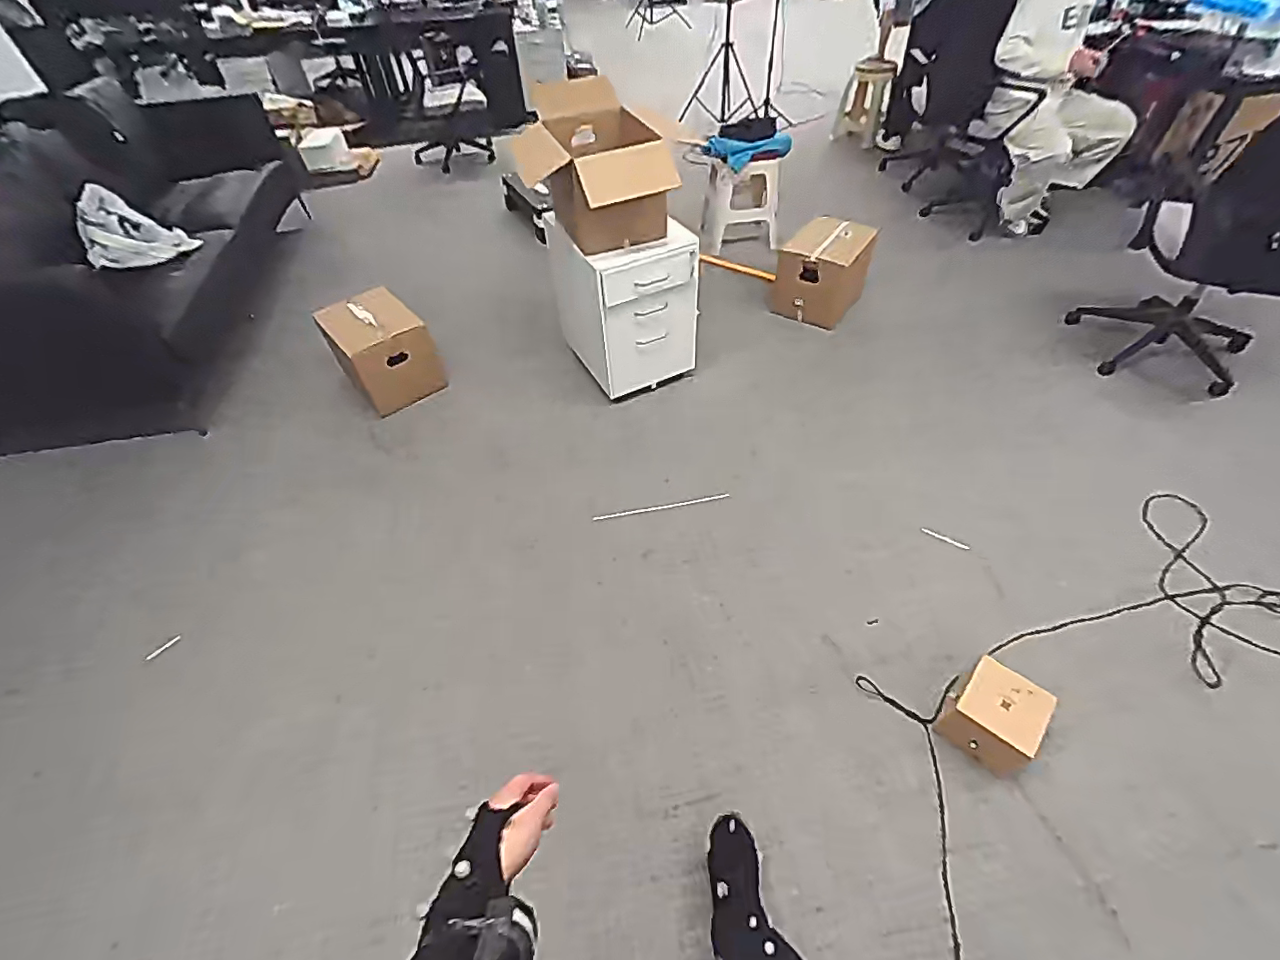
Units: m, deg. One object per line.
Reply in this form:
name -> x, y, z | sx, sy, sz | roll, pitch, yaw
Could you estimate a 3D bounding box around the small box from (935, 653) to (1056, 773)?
small box -> 0.835, 0.558, 1.288 | 0.168, 0.176, 0.179 | 33, 58, 28
